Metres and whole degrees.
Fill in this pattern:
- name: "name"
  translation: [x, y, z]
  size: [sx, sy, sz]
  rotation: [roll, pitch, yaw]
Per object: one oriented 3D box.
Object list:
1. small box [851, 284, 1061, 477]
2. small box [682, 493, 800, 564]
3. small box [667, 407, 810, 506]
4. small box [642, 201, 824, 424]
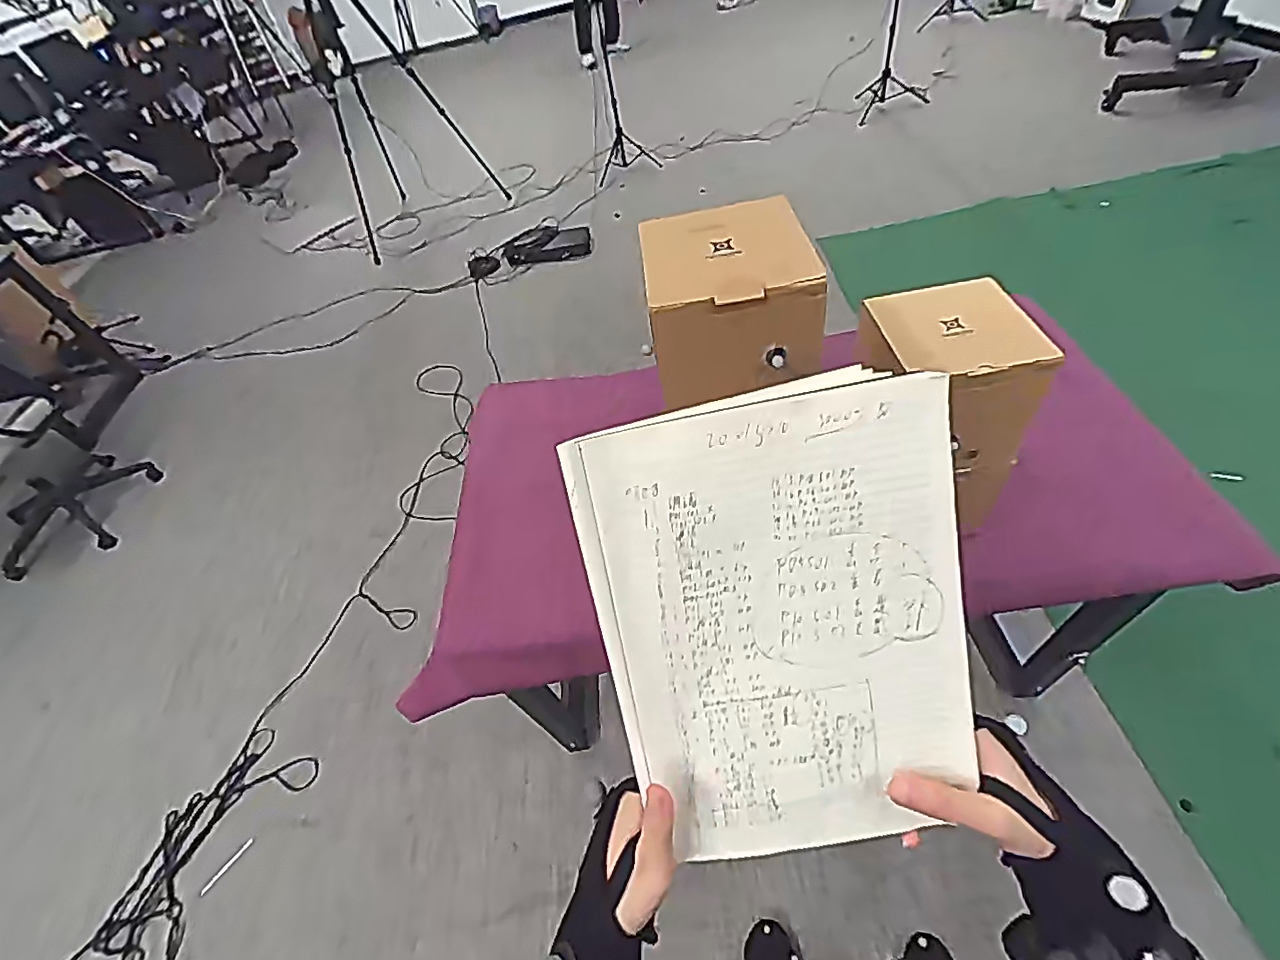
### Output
- name: "small box"
  translation: [0.393, -0.129, 0.716]
  size: [0.168, 0.176, 0.179]
  rotation: [-9, 49, 5]
- name: "small box"
  translation: [0.152, 0.020, 0.863]
  size: [0.168, 0.176, 0.179]
  rotation: [-9, 50, 5]
- name: "small box"
  translation: [0.125, -0.079, 0.734]
  size: [0.168, 0.176, 0.179]
  rotation: [-9, 49, 5]
- name: "small box"
  translation: [0.098, -0.178, 0.607]
  size: [0.168, 0.176, 0.179]
  rotation: [-8, 49, 5]
